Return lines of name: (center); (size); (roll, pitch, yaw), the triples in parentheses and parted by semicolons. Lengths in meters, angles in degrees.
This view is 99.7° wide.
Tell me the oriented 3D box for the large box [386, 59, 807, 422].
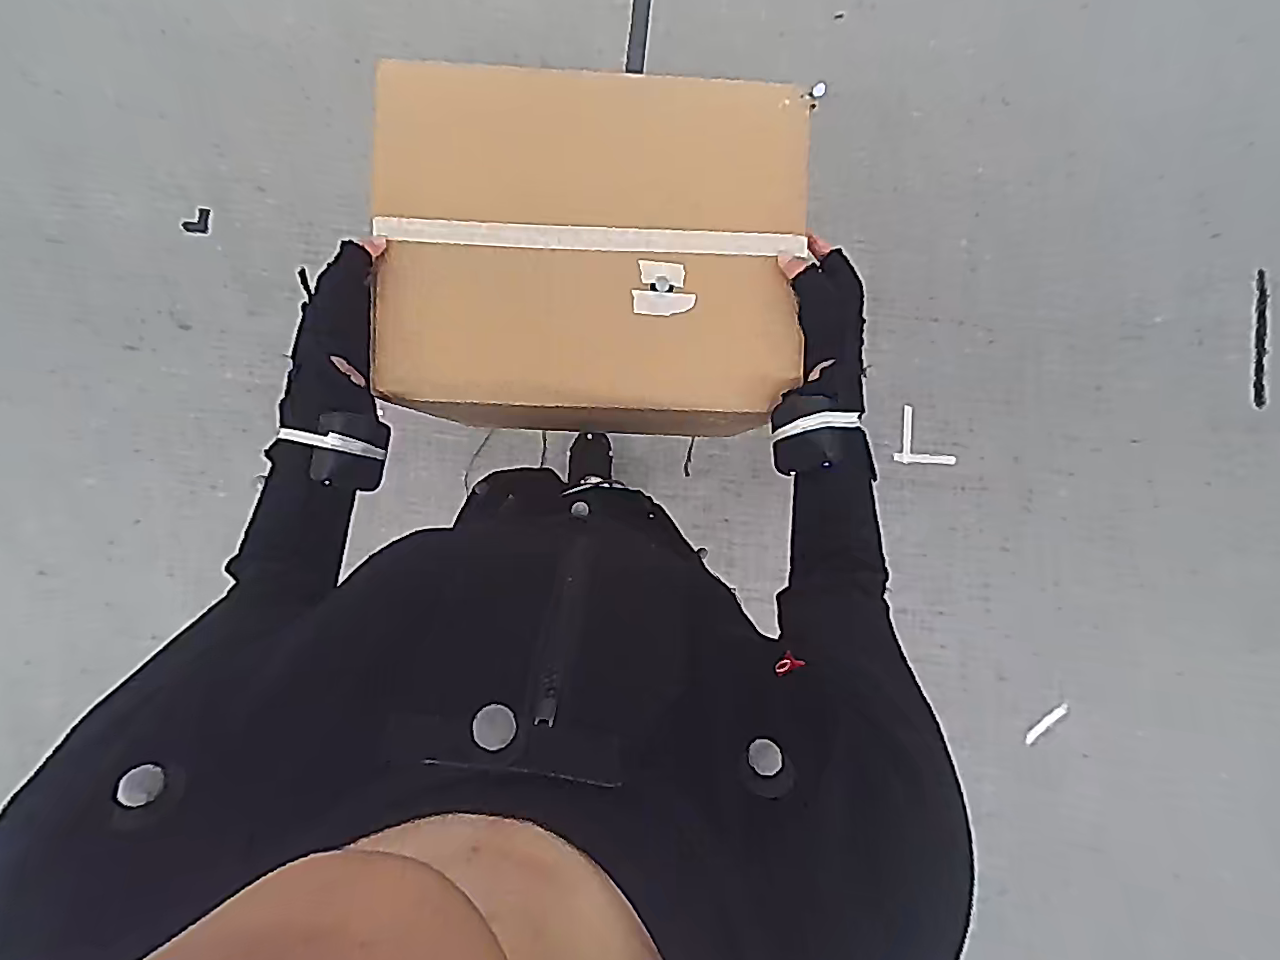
large box: (-0.048, -0.241, 0.667); (0.408, 0.320, 0.320); (2, 92, -3)
